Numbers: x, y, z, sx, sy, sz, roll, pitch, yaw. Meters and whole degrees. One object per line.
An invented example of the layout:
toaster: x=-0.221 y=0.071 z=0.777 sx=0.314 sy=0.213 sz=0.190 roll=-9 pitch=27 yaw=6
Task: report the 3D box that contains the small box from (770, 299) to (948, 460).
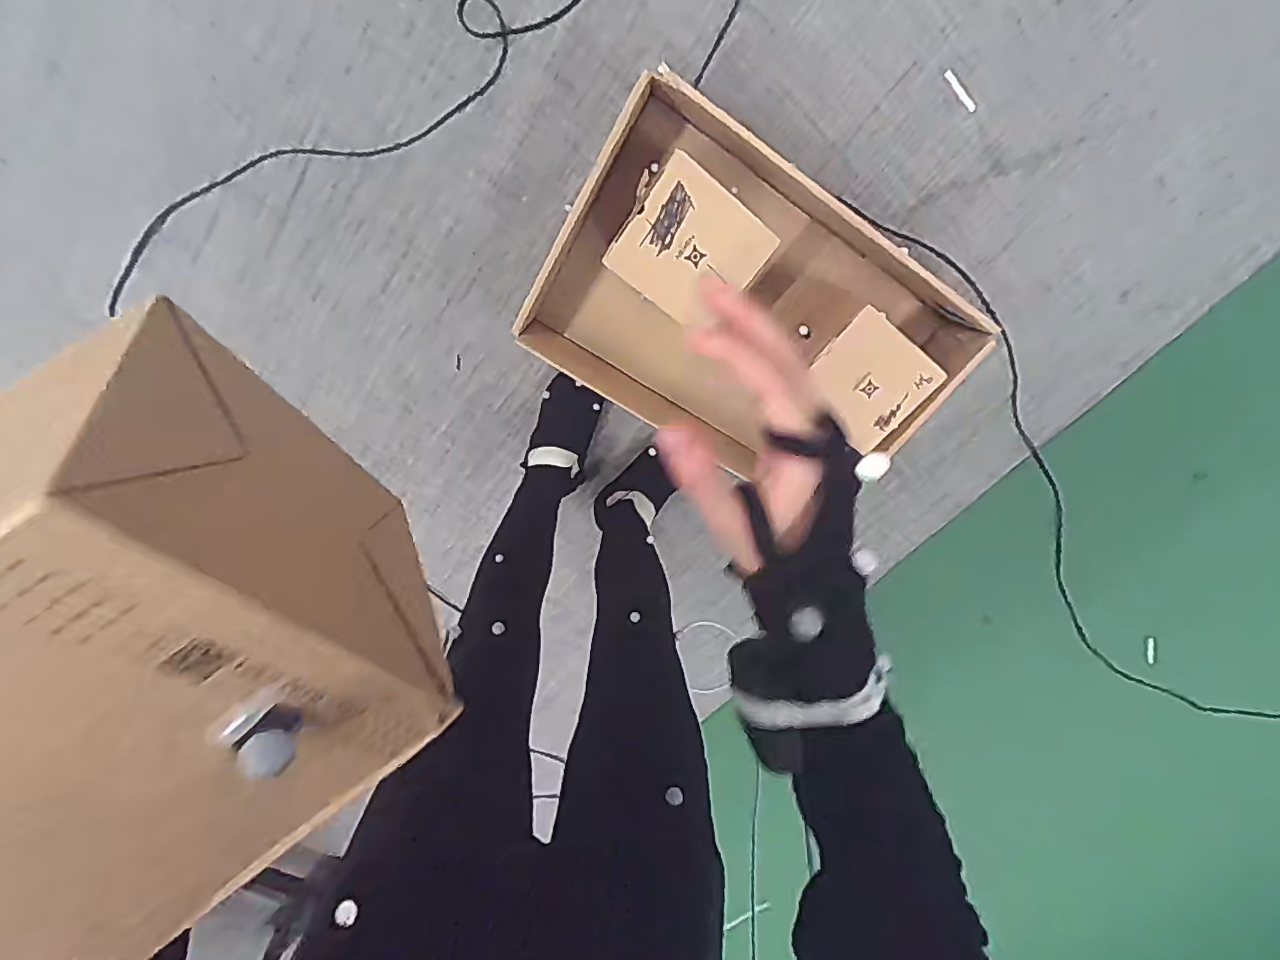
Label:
small box: x=0.334 y=-0.169 z=0.864 sx=0.179 sy=0.176 sz=0.168 roll=35 pitch=112 yaw=-16
